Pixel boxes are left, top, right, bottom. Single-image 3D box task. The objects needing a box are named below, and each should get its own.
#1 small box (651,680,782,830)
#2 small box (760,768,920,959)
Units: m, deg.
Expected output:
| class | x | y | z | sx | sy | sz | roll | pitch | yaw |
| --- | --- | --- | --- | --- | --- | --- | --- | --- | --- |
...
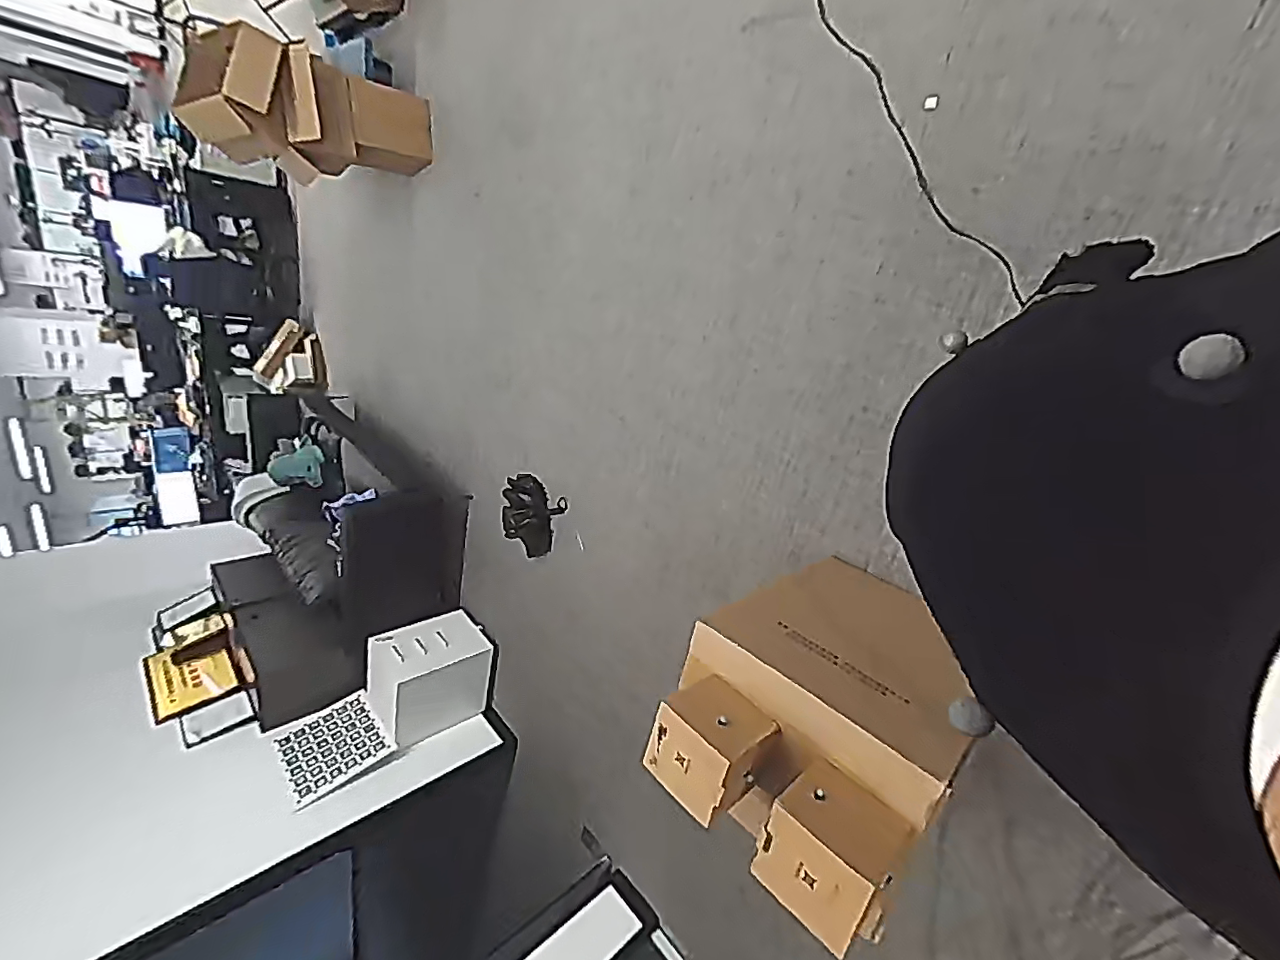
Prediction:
| class | x | y | z | sx | sy | sz | roll | pitch | yaw |
| --- | --- | --- | --- | --- | --- | --- | --- | --- | --- |
| small box | 0.155 | 0.531 | 1.074 | 0.179 | 0.176 | 0.168 | 28 | 113 | 38 |
| small box | 0.337 | 0.623 | 0.910 | 0.179 | 0.176 | 0.168 | 25 | 112 | 38 |
